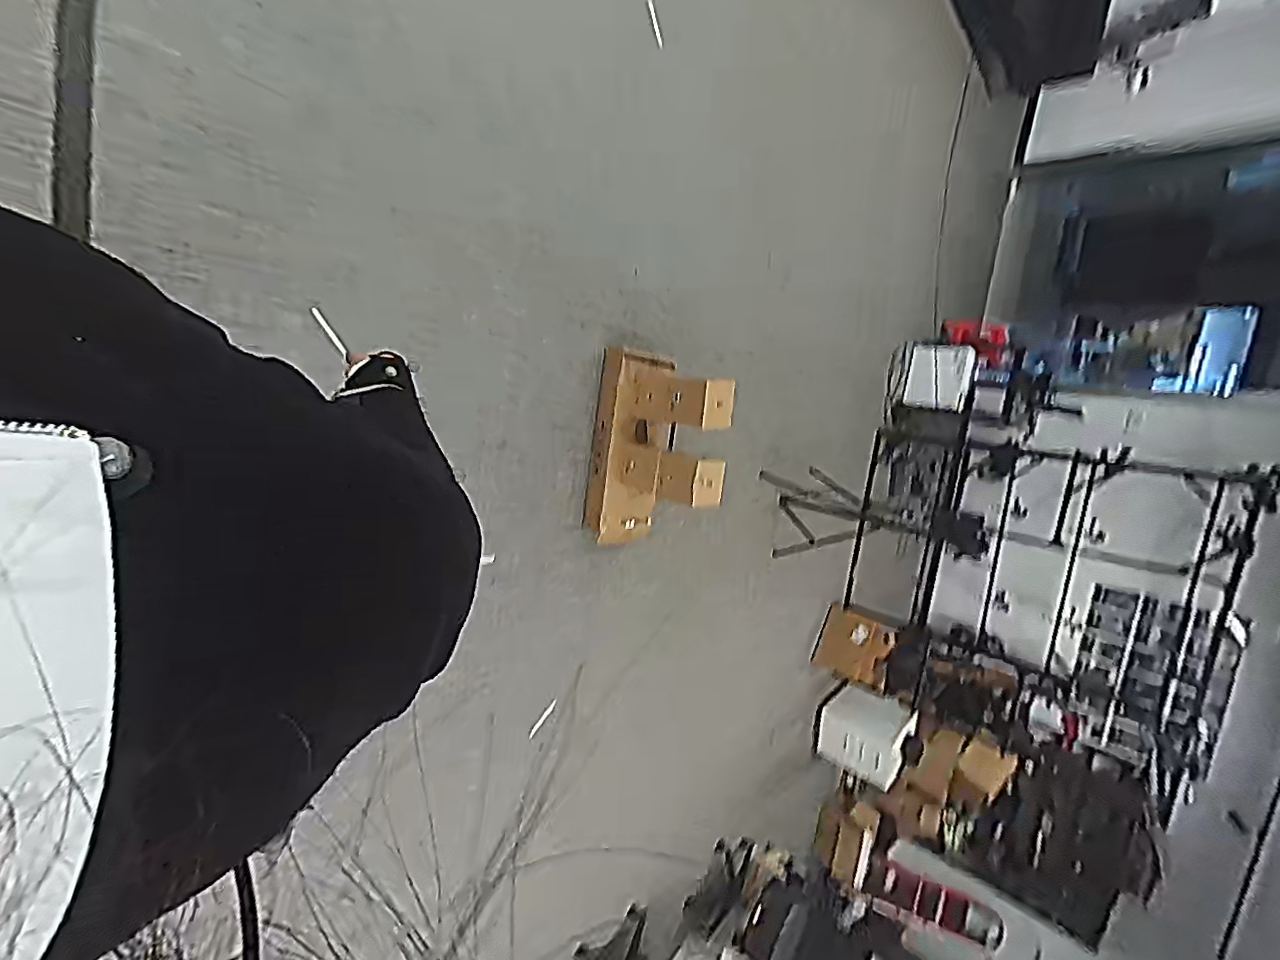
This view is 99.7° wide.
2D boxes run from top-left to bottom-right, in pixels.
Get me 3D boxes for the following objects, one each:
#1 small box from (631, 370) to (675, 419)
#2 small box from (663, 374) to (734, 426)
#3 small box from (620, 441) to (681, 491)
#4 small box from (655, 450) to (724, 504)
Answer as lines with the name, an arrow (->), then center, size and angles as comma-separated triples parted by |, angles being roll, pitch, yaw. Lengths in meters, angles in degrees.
small box -> 0.088, -0.315, 2.024 | 0.179, 0.176, 0.168 | 1, 101, -47
small box -> 0.206, -0.286, 1.914 | 0.179, 0.176, 0.168 | -8, 107, -46
small box -> 0.050, -0.051, 2.061 | 0.179, 0.176, 0.168 | 5, 96, -48
small box -> 0.180, -0.014, 1.962 | 0.179, 0.176, 0.168 | -2, 102, -47
